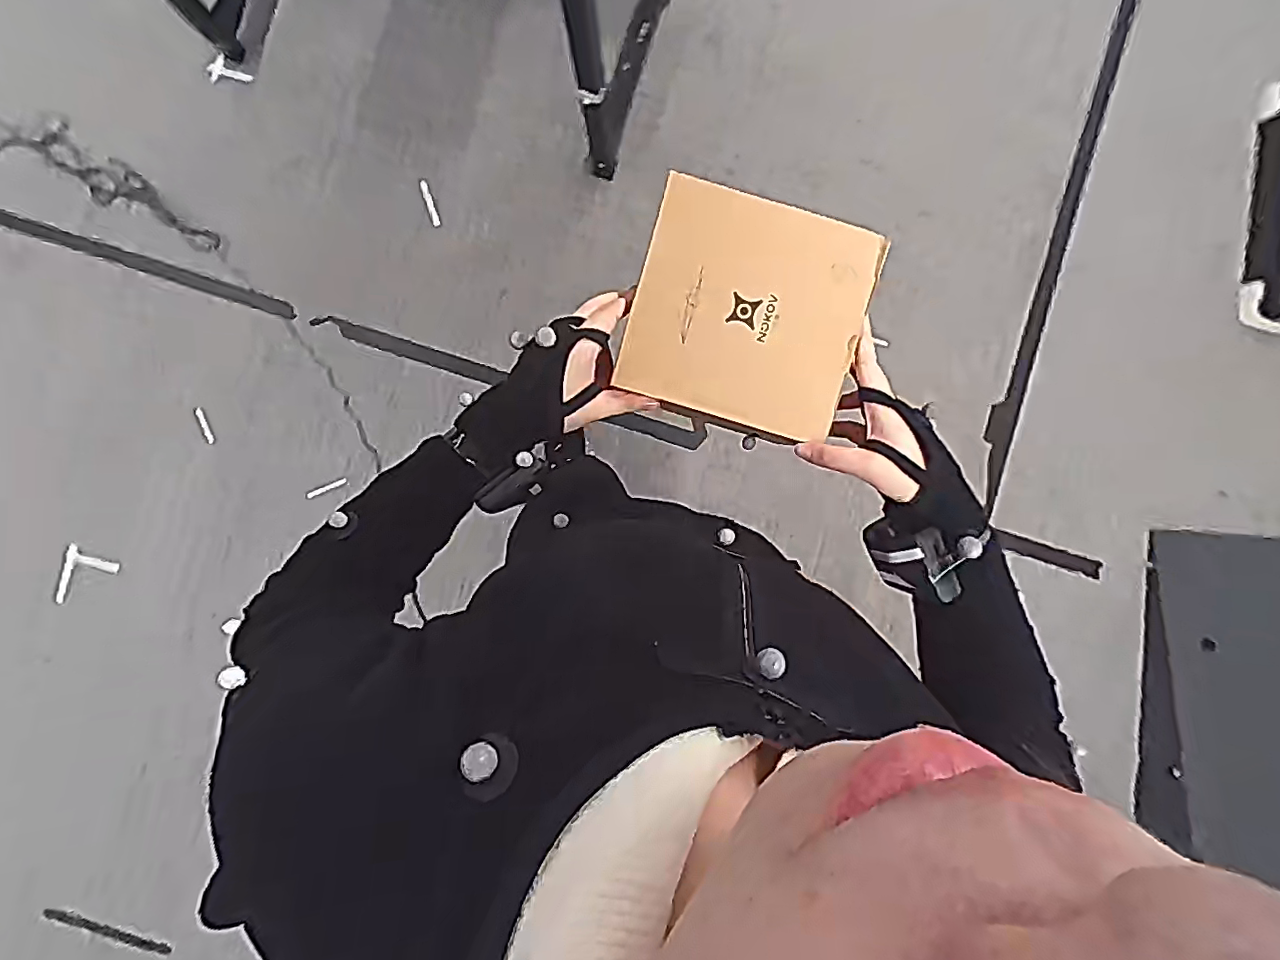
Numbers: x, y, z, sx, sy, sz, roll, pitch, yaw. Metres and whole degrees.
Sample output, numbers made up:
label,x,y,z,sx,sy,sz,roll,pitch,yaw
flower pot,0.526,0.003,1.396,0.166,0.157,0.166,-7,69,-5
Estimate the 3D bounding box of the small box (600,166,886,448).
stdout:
label,x,y,z,sx,sy,sz,roll,pitch,yaw
small box,0.075,-0.134,0.478,0.179,0.176,0.168,16,95,-1
